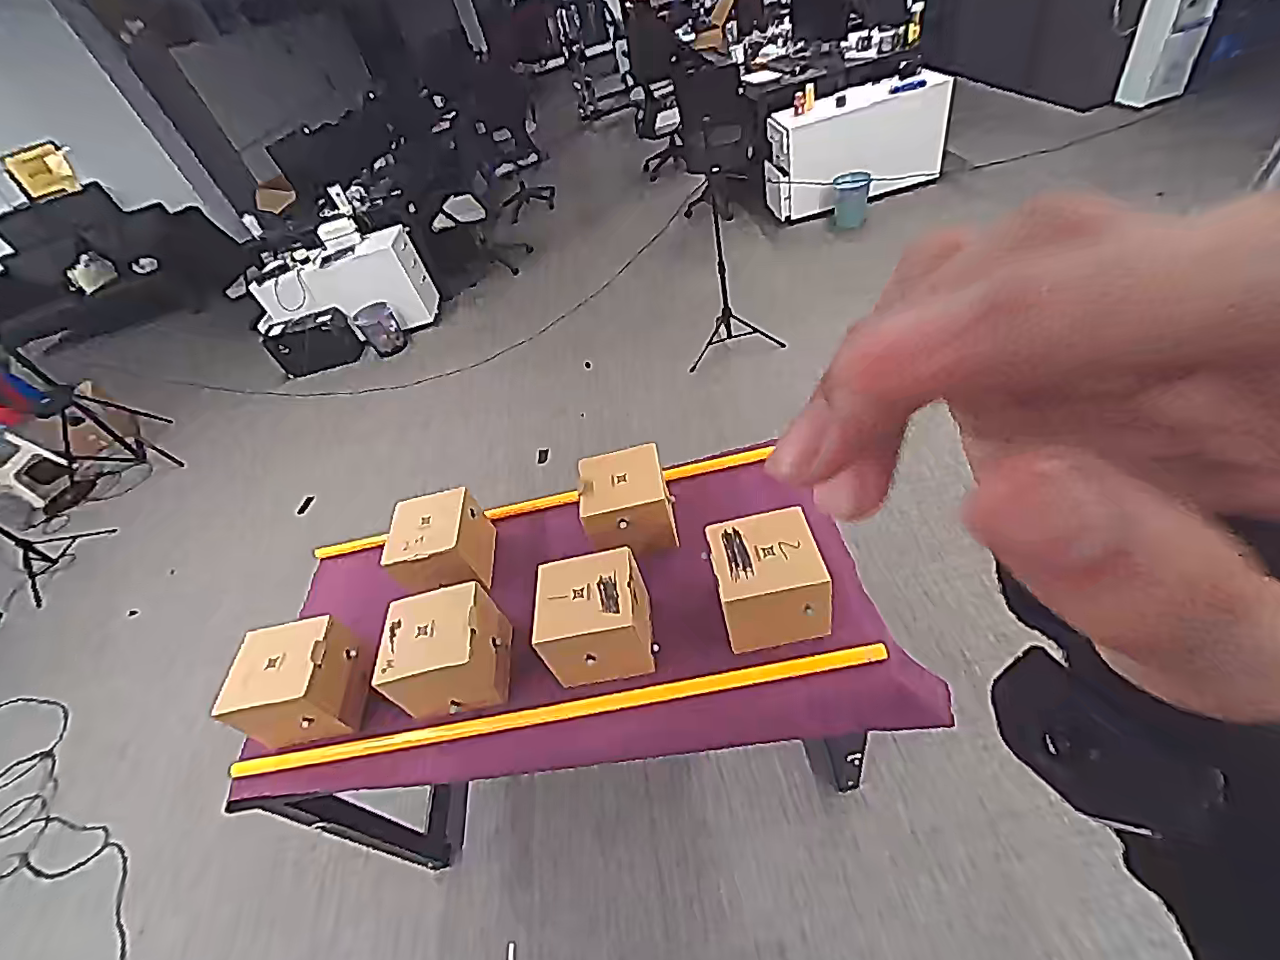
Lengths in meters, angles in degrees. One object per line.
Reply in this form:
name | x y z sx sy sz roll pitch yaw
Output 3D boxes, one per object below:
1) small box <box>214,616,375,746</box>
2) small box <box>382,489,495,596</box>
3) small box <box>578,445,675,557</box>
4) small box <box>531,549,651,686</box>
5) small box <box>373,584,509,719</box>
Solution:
small box | -0.644 0.388 1.038 0.179 0.176 0.168 -12 44 3
small box | -0.436 0.150 1.206 0.168 0.176 0.179 -13 46 6
small box | -0.025 0.054 1.168 0.179 0.176 0.168 -14 45 6
small box | -0.081 0.254 0.989 0.179 0.176 0.168 -13 43 7
small box | -0.357 0.323 1.011 0.179 0.176 0.168 -14 44 4
